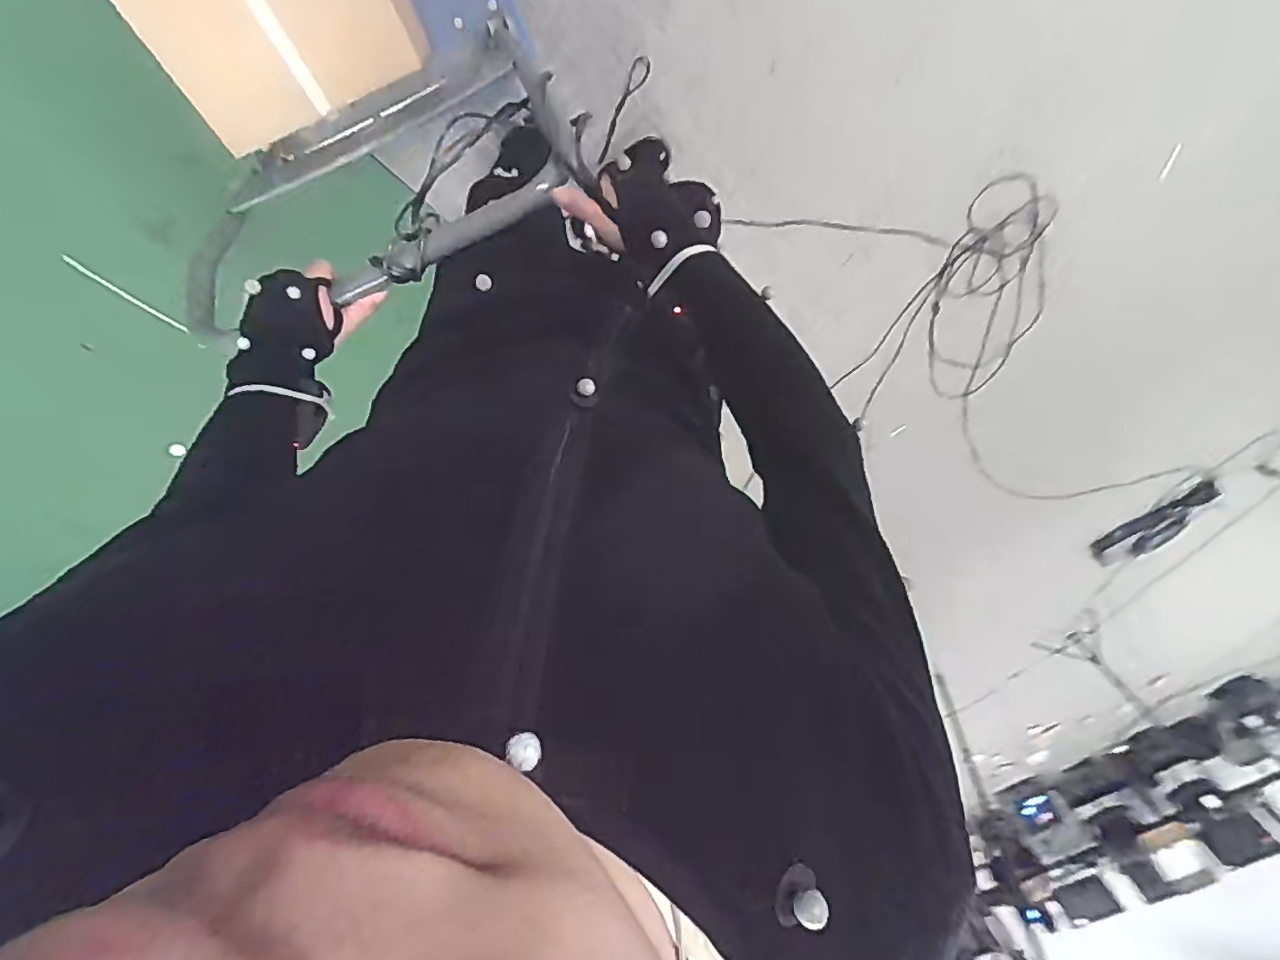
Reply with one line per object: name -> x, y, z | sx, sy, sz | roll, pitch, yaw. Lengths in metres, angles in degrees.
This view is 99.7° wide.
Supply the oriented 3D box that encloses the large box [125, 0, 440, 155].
large box -> -0.535, -0.760, 0.759 | 0.320, 0.320, 0.408 | -23, 134, 3
